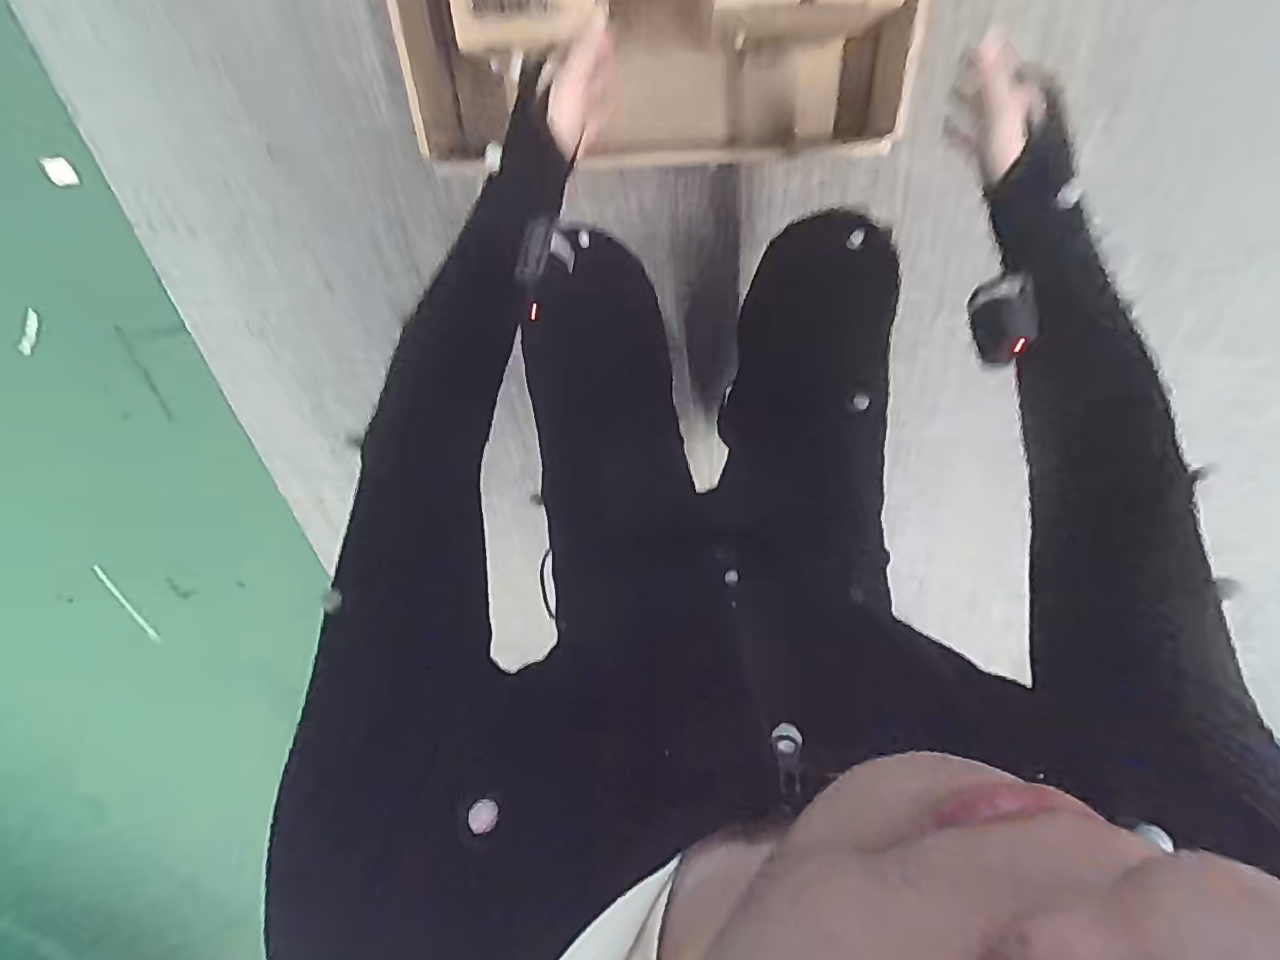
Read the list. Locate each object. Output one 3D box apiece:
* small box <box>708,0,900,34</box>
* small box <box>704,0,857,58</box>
[{"bbox_3d":[0.149,-0.522,0.485,0.168,0.176,0.179,2,121,4],"label":"small box"},{"bbox_3d":[0.161,-0.610,0.622,0.168,0.176,0.179,0,123,5],"label":"small box"}]
